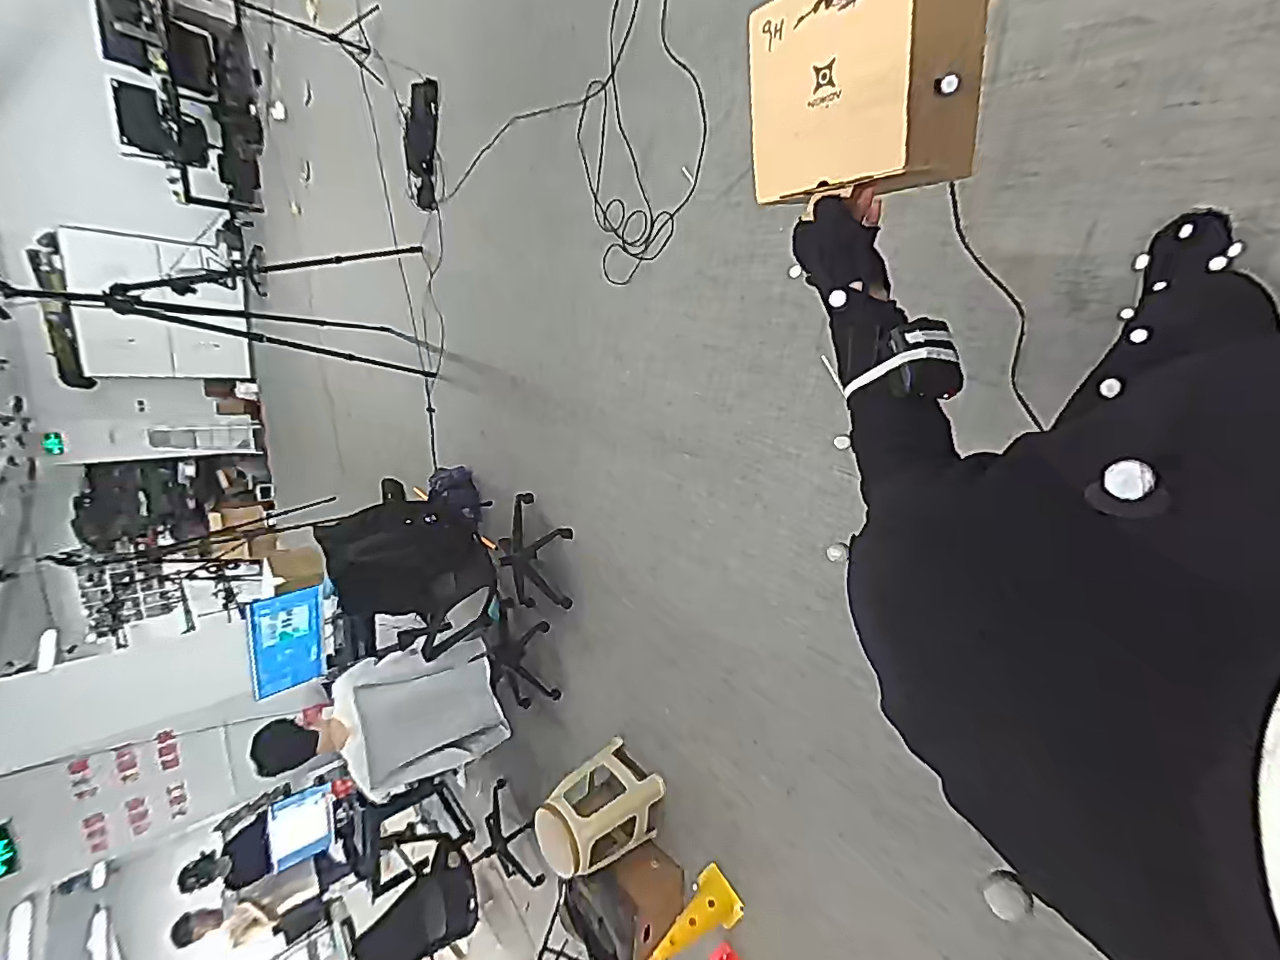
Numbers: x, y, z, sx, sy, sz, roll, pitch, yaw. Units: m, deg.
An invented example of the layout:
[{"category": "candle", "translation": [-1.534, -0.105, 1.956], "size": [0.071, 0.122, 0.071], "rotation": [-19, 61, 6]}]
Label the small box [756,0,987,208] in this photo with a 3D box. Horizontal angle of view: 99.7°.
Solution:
[{"category": "small box", "translation": [0.243, -0.399, 0.570], "size": [0.168, 0.176, 0.179], "rotation": [15, 121, 45]}]
